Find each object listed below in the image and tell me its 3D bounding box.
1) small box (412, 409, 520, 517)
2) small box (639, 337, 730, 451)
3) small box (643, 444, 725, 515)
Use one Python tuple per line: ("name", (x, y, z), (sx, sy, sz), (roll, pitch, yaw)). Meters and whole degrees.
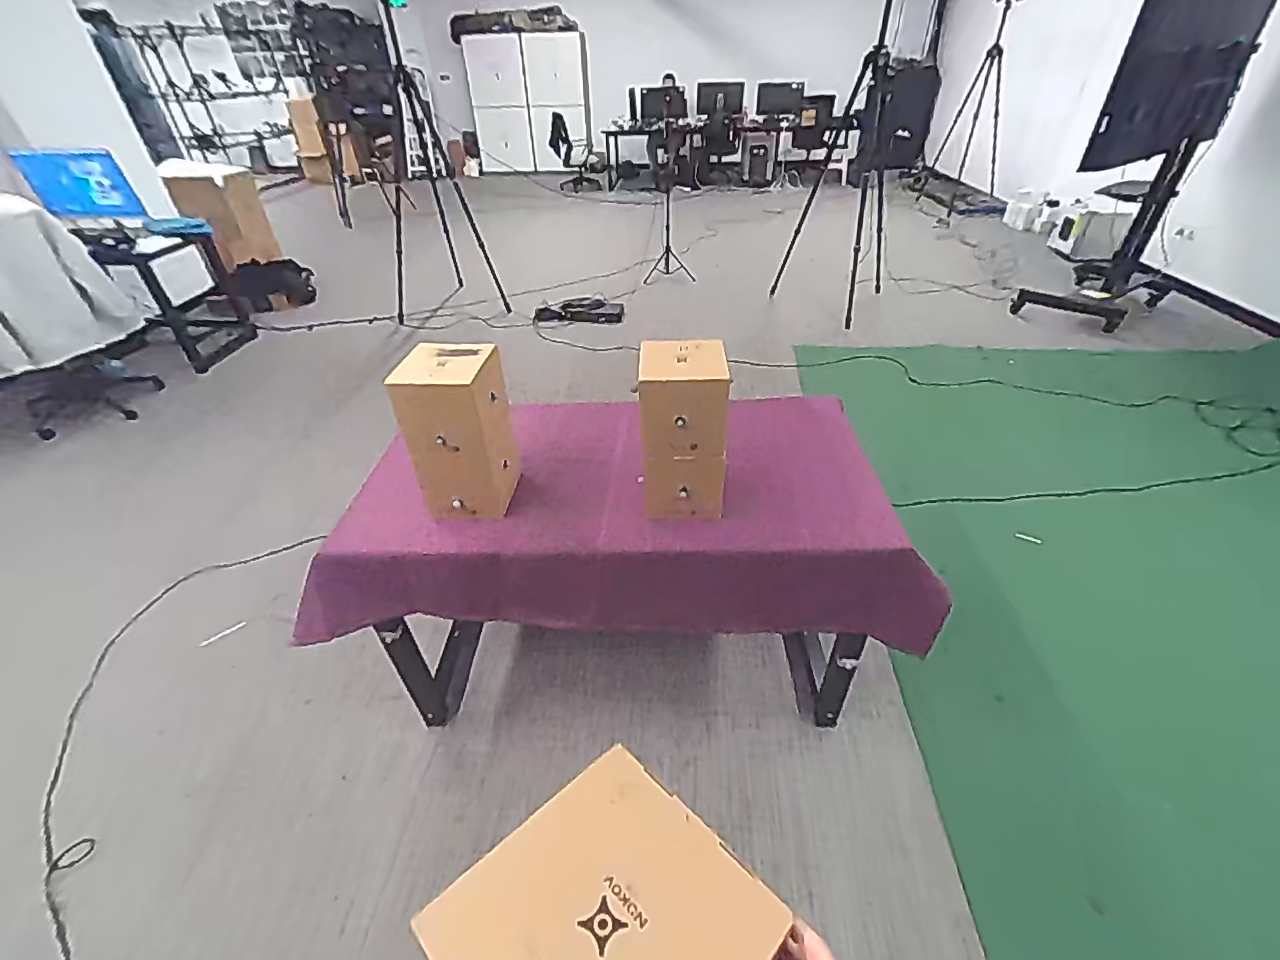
("small box", (-0.371, -0.039, 1.194), (0.168, 0.176, 0.179), (1, 39, 4))
("small box", (0.086, -0.168, 1.072), (0.168, 0.176, 0.179), (0, 38, 2))
("small box", (0.094, -0.038, 1.174), (0.168, 0.176, 0.179), (1, 39, 3))
